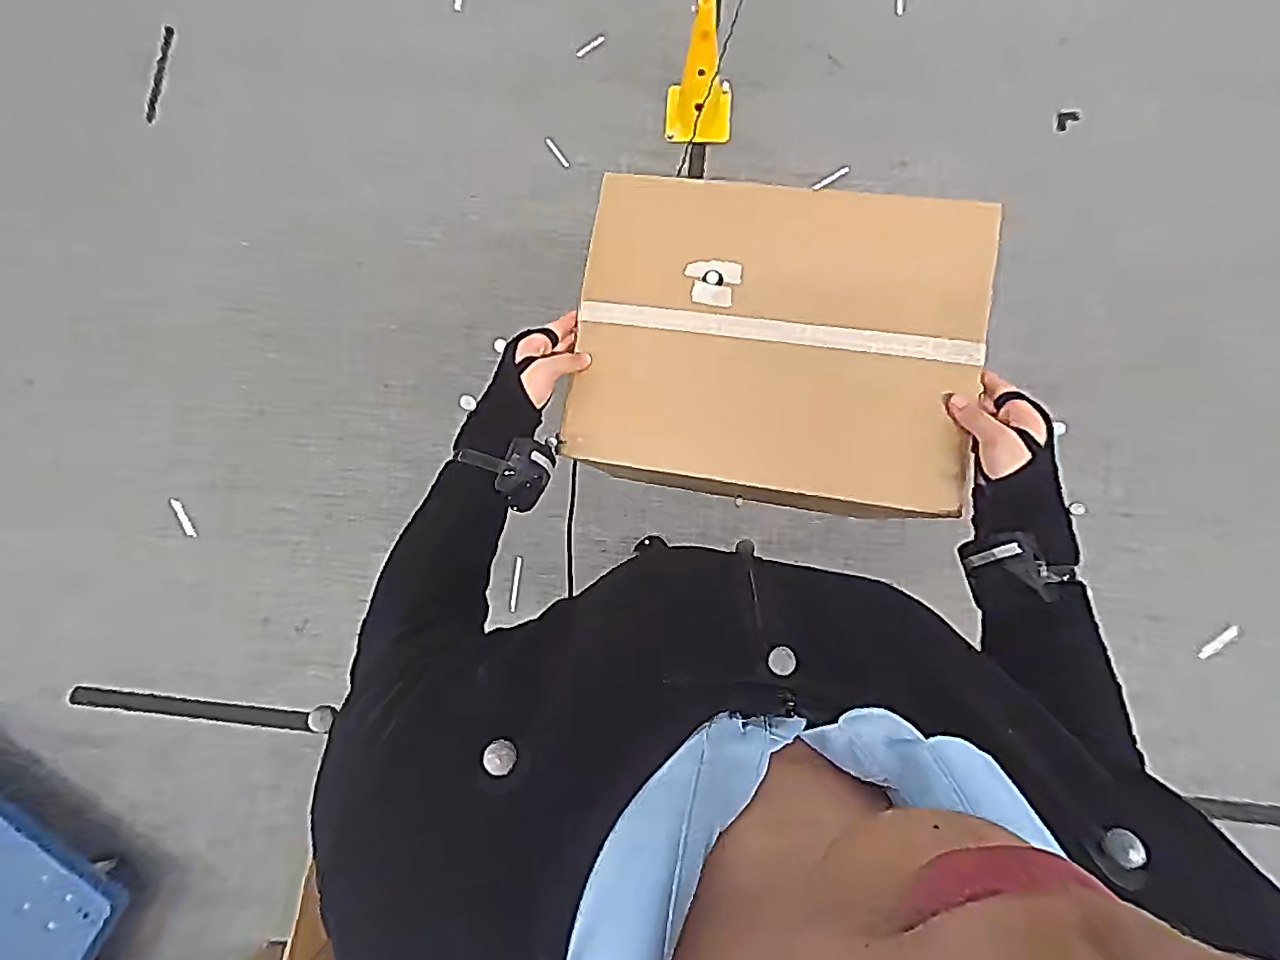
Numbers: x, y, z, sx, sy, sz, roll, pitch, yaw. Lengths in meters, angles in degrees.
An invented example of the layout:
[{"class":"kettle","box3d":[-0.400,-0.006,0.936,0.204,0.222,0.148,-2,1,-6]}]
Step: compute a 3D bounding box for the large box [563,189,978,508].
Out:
[{"class":"large box","box3d":[0.152,-0.139,0.711,0.408,0.320,0.320,8,85,9]}]
